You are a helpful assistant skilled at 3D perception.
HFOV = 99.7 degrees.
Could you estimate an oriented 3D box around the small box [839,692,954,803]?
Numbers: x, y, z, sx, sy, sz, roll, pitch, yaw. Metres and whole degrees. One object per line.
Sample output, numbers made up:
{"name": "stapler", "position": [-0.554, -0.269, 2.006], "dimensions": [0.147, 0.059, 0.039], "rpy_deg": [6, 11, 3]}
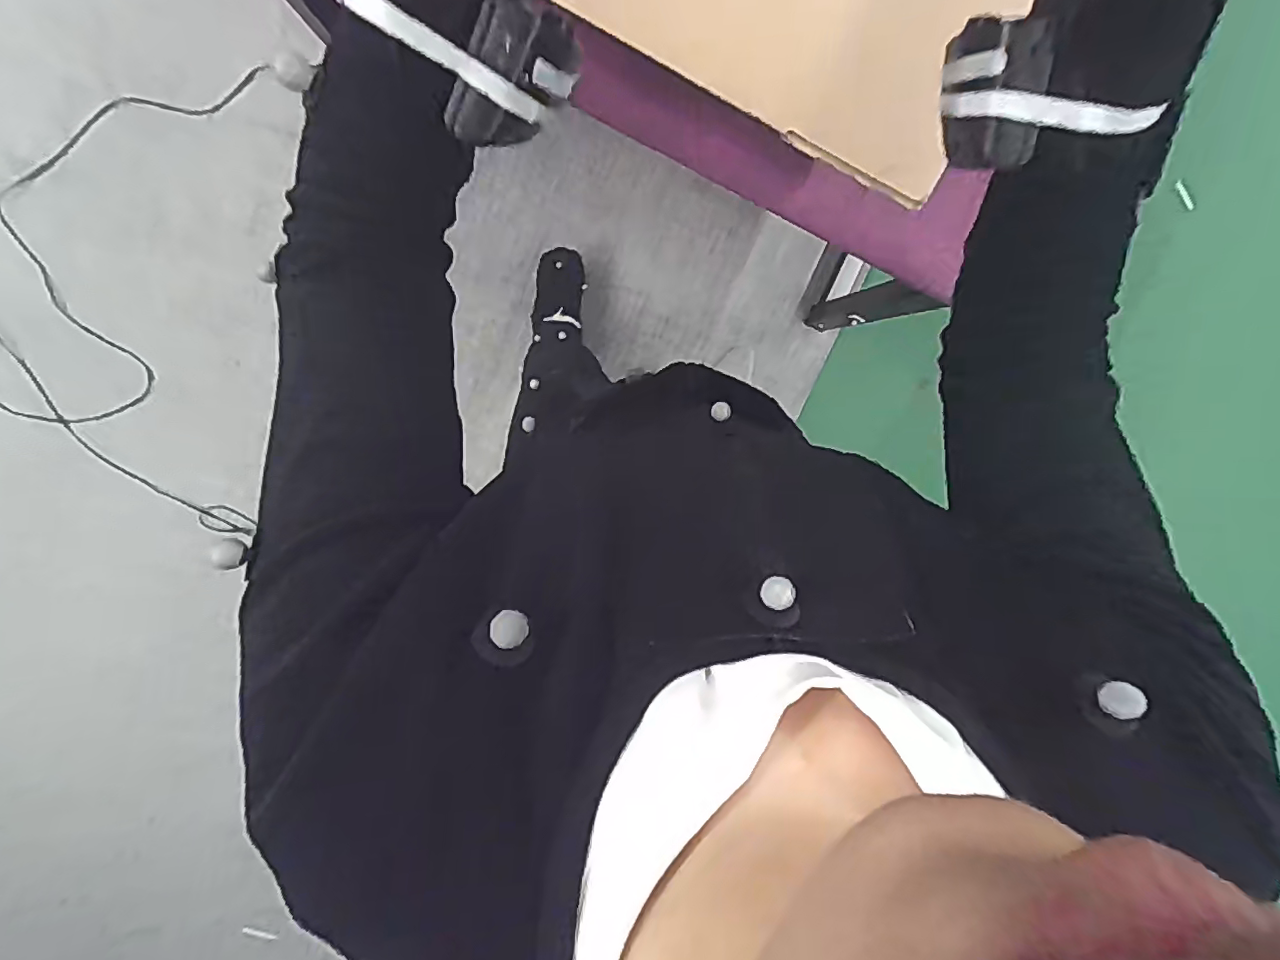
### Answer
{"name": "small box", "position": [0.657, 0.686, 1.405], "dimensions": [0.179, 0.176, 0.168], "rpy_deg": [23, 100, -7]}

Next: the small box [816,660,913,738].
{"name": "small box", "position": [0.647, 0.653, 1.564], "dimensions": [0.179, 0.176, 0.168], "rpy_deg": [25, 100, -7]}
